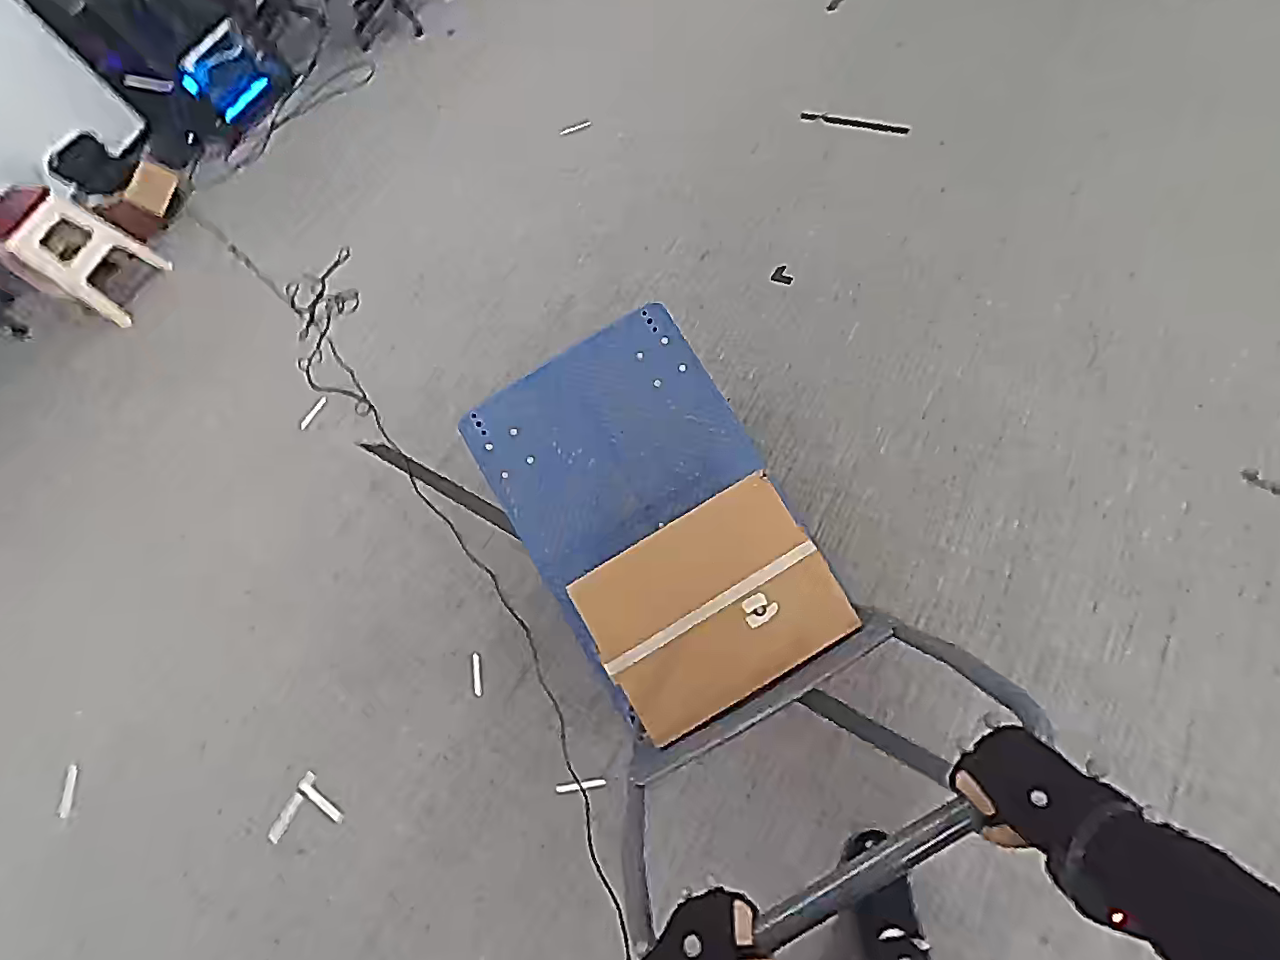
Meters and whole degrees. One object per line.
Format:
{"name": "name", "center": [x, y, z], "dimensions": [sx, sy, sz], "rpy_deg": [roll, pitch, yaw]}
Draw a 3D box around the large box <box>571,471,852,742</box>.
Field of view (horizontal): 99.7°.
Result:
{"name": "large box", "center": [0.127, 0.236, 1.088], "dimensions": [0.408, 0.320, 0.320], "rpy_deg": [-32, 83, -2]}
